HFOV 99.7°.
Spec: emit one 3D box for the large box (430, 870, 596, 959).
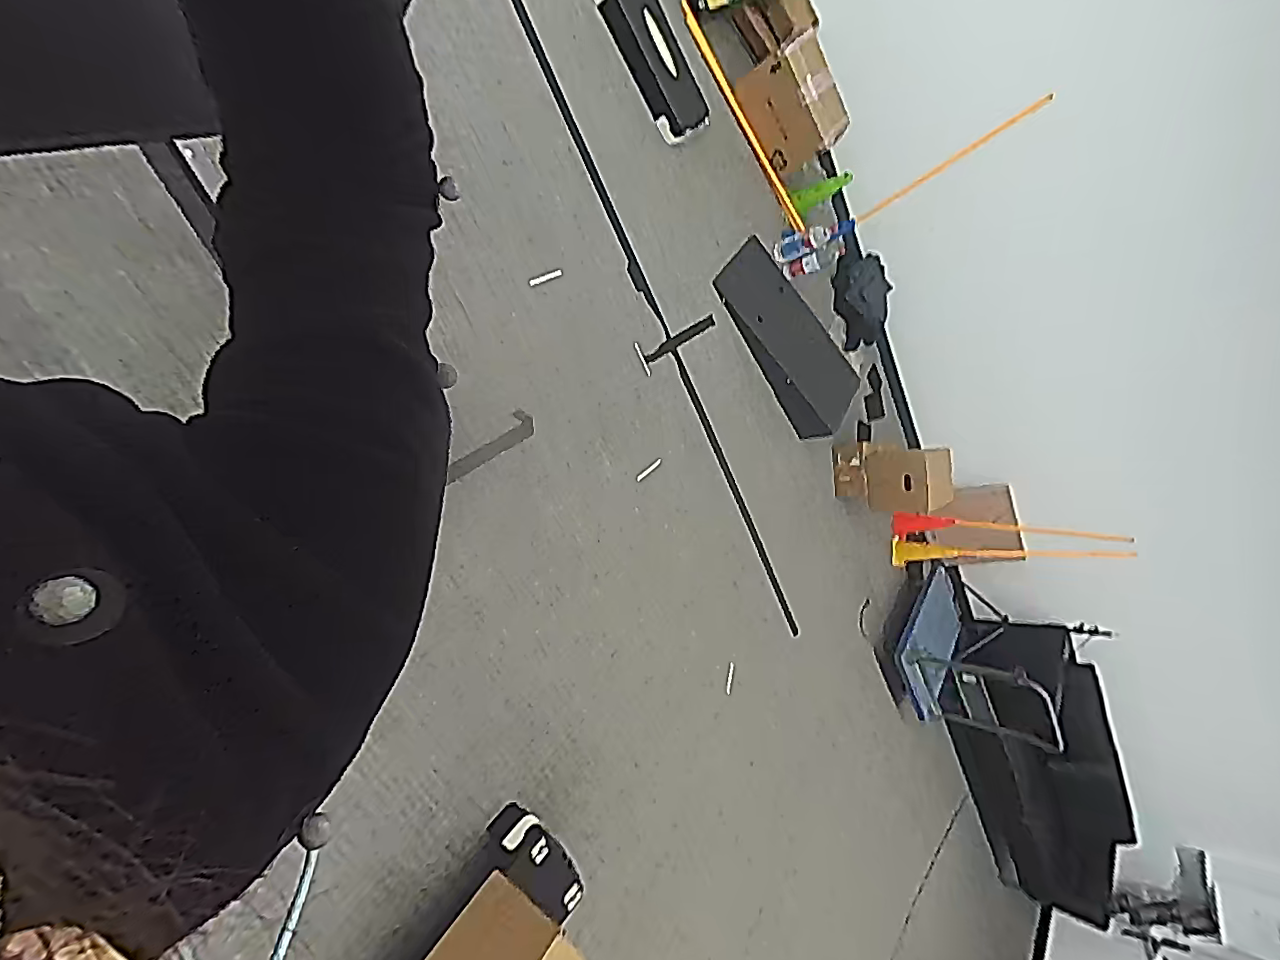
[{"bbox_3d":[-0.312,1.224,1.221,0.408,0.320,0.320,-44,115,-37],"label":"large box"}]
